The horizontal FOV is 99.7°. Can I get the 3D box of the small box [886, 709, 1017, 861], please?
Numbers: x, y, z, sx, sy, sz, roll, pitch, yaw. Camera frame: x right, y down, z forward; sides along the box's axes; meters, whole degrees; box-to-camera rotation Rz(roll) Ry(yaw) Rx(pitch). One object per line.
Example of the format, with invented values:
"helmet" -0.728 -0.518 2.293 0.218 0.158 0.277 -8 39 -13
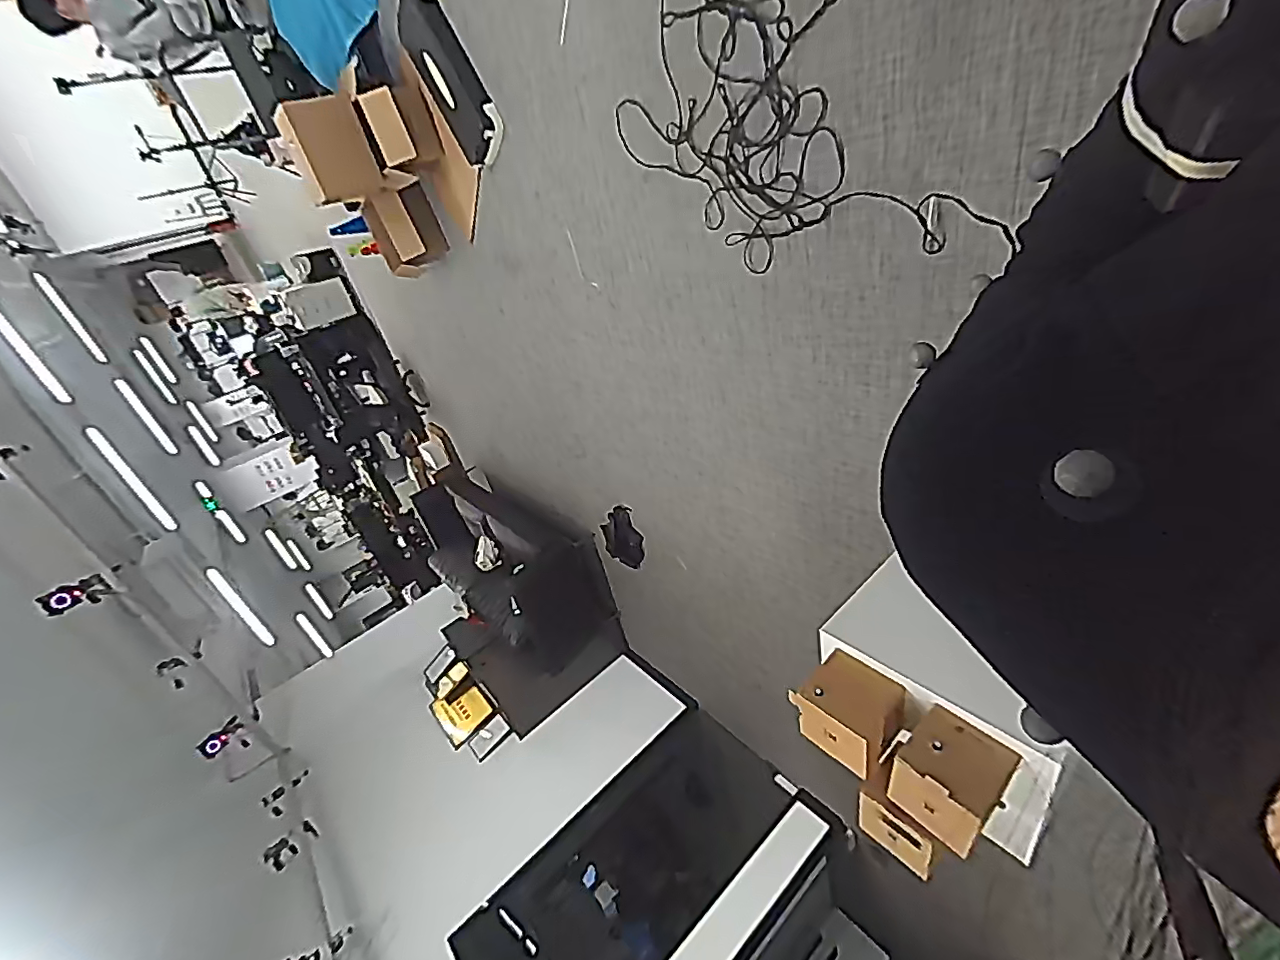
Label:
"small box" 0.628 0.608 1.095 0.168 0.176 0.179 30 143 44
